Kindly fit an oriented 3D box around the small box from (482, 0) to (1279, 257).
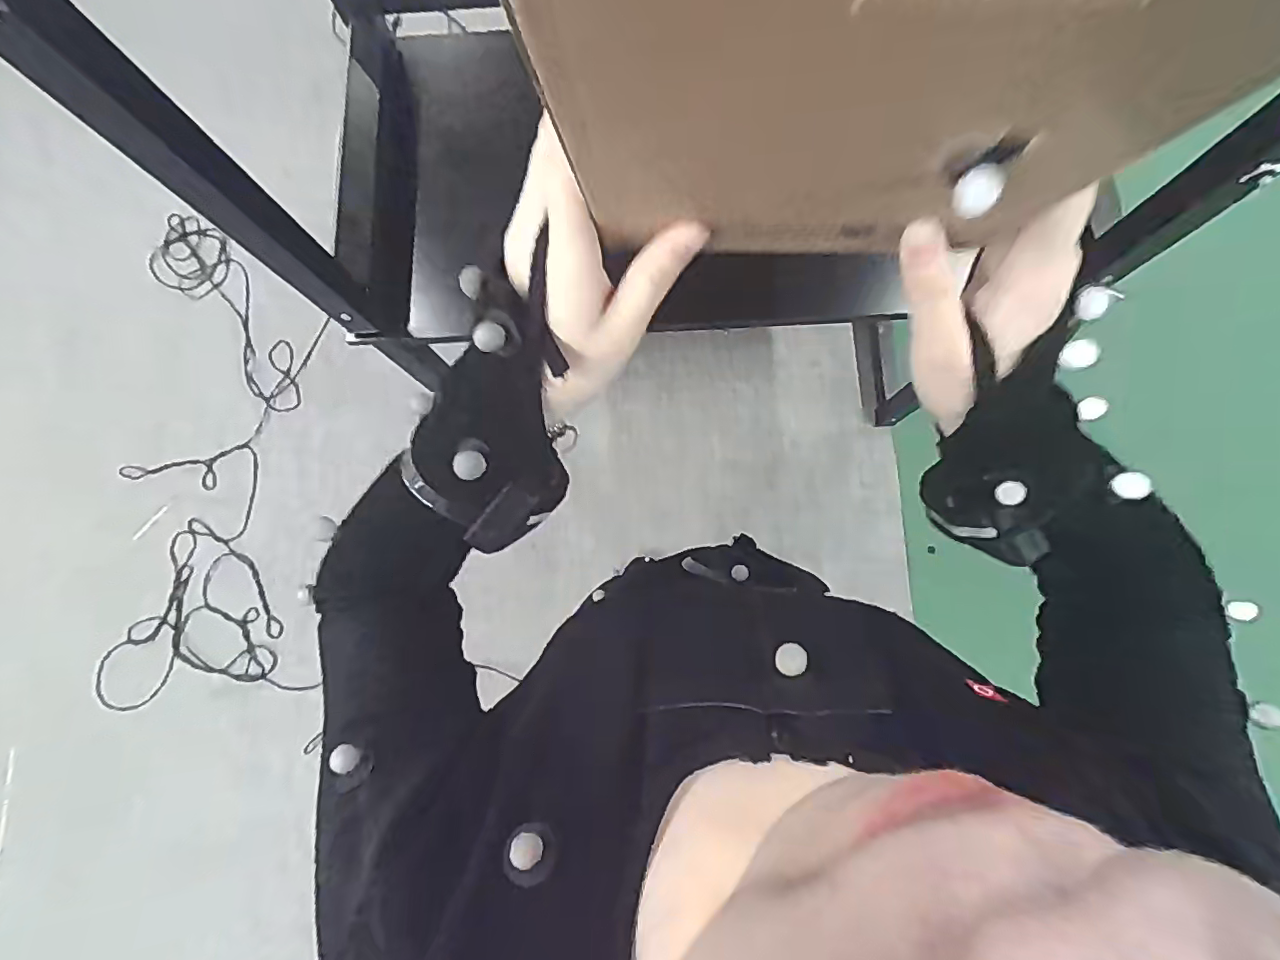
[{"bbox_3d":[0.062,-0.172,0.149,0.168,0.176,0.179,3,96,3],"label":"small box"}]
